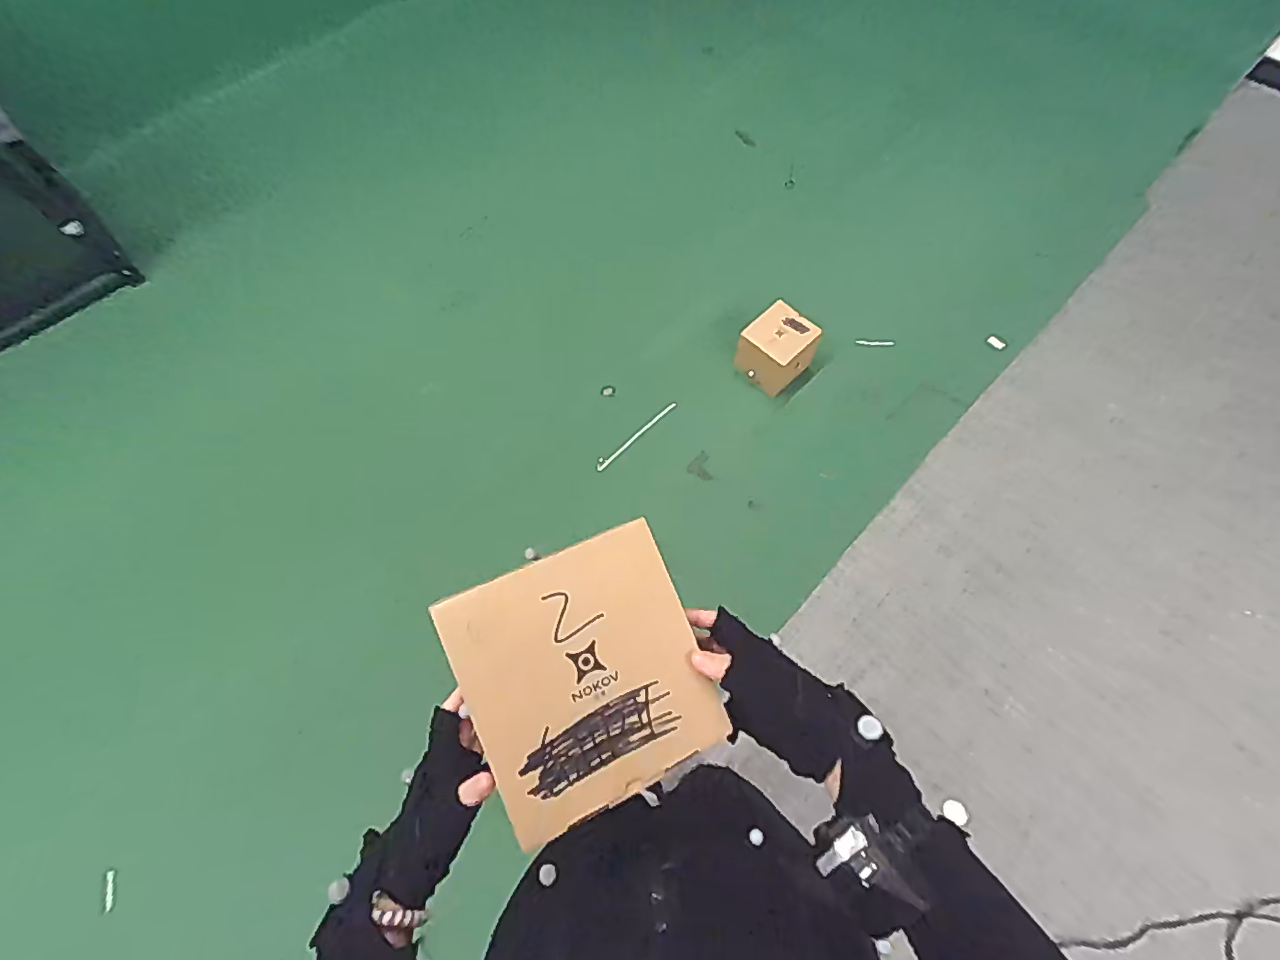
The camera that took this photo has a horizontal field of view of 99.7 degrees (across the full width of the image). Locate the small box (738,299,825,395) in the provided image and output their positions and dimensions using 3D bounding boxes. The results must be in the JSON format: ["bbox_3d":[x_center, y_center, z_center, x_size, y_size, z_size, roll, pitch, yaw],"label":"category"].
[{"bbox_3d":[0.408,-0.390,1.599,0.179,0.176,0.168,-42,71,-14],"label":"small box"}]
